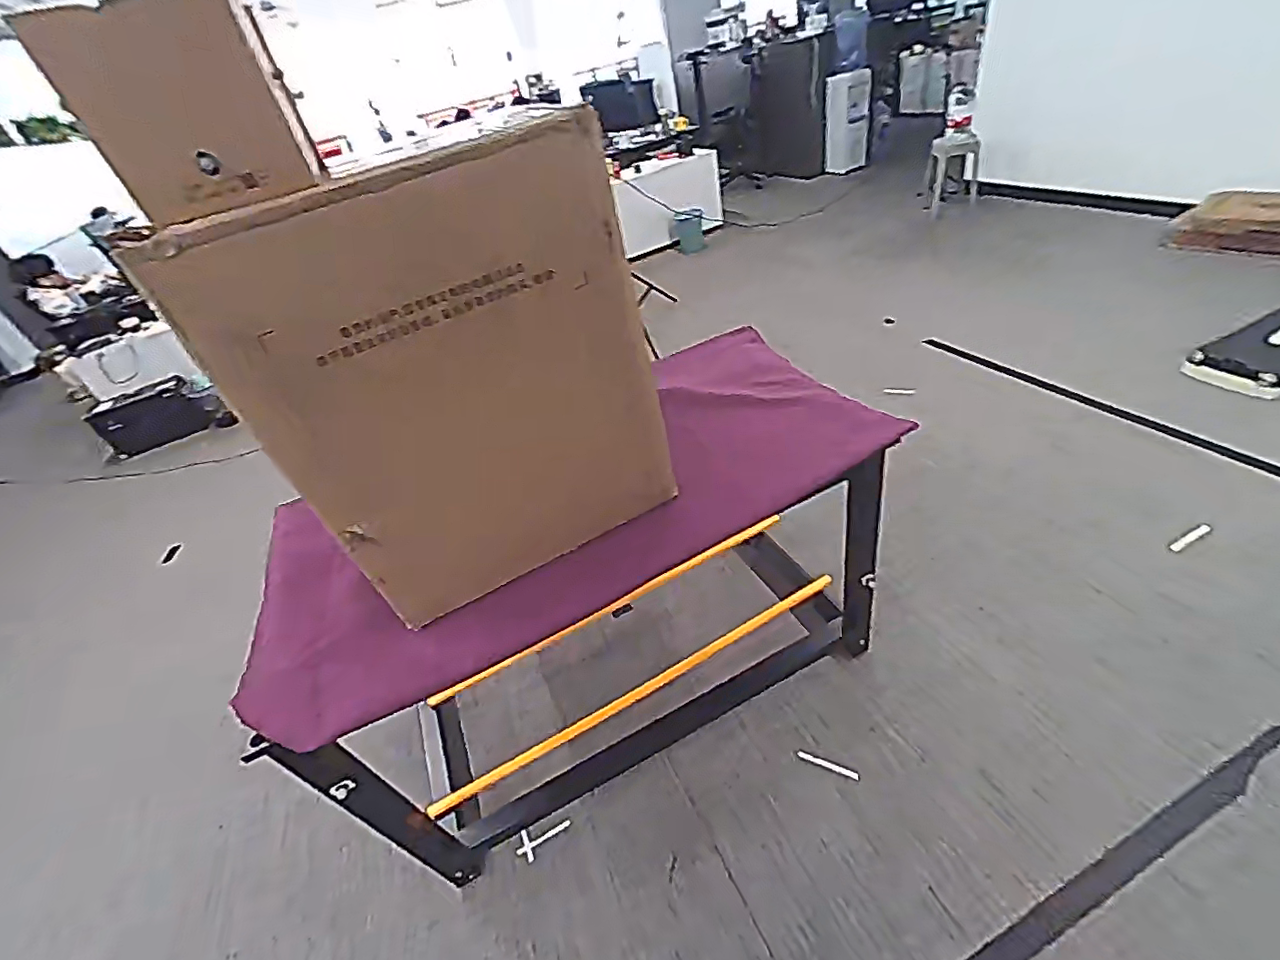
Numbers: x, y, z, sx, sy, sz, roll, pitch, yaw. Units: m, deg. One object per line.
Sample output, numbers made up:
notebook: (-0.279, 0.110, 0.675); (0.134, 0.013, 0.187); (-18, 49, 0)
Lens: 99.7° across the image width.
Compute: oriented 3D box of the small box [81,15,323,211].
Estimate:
small box: (-0.536, -0.469, 0.700); (0.179, 0.176, 0.168); (-26, 39, -15)
